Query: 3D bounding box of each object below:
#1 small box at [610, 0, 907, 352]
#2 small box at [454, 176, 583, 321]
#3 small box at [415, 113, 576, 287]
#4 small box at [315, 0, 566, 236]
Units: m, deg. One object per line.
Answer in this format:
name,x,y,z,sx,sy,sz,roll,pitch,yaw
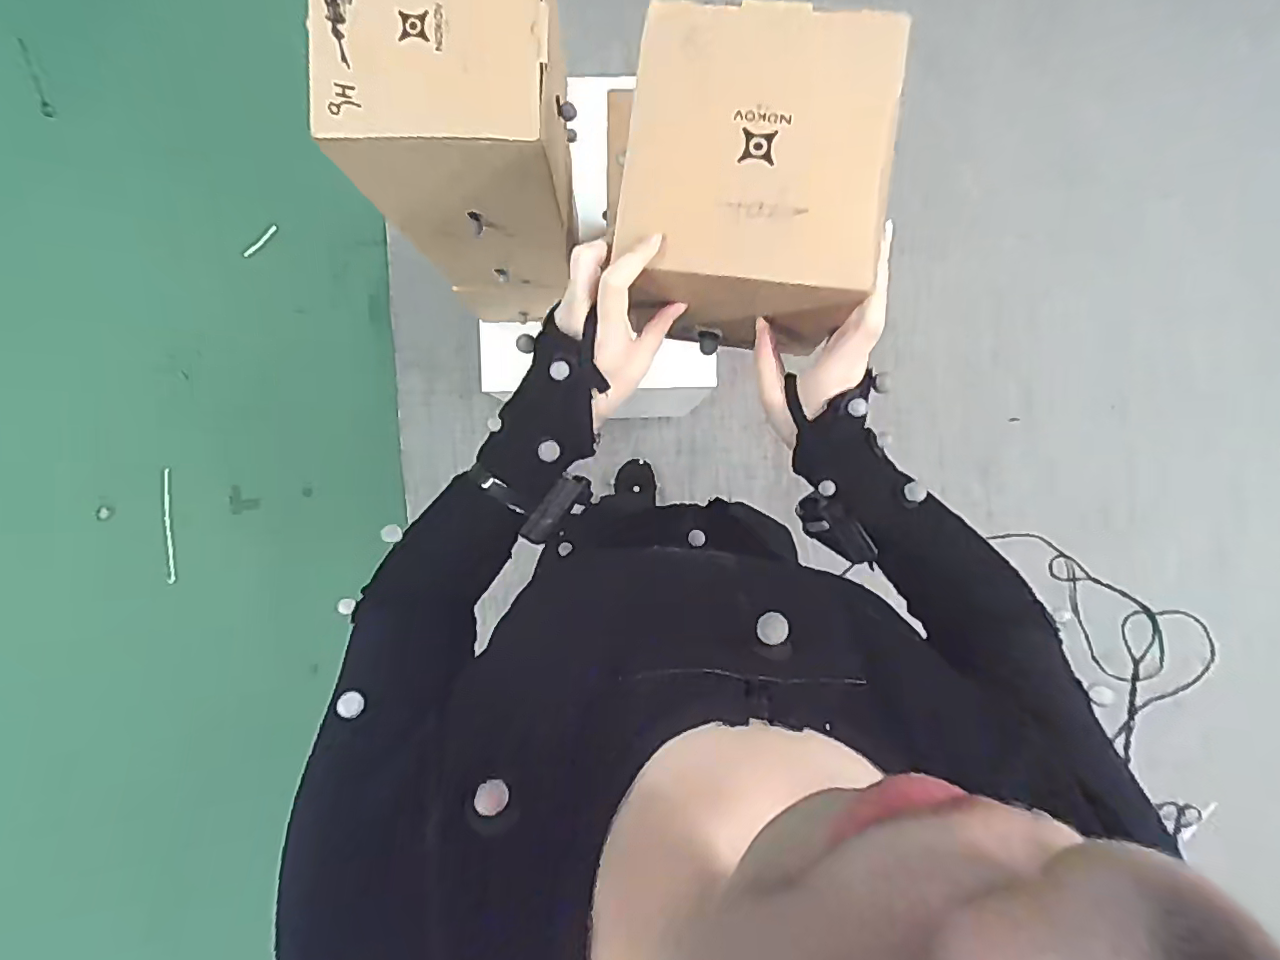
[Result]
small box,0.080,-0.215,0.418,0.168,0.176,0.179,8,90,6
small box,-0.176,-0.350,0.816,0.168,0.176,0.179,-1,92,-1
small box,-0.168,-0.350,0.652,0.168,0.176,0.179,0,91,-1
small box,-0.160,-0.338,0.488,0.179,0.176,0.168,1,91,-2
